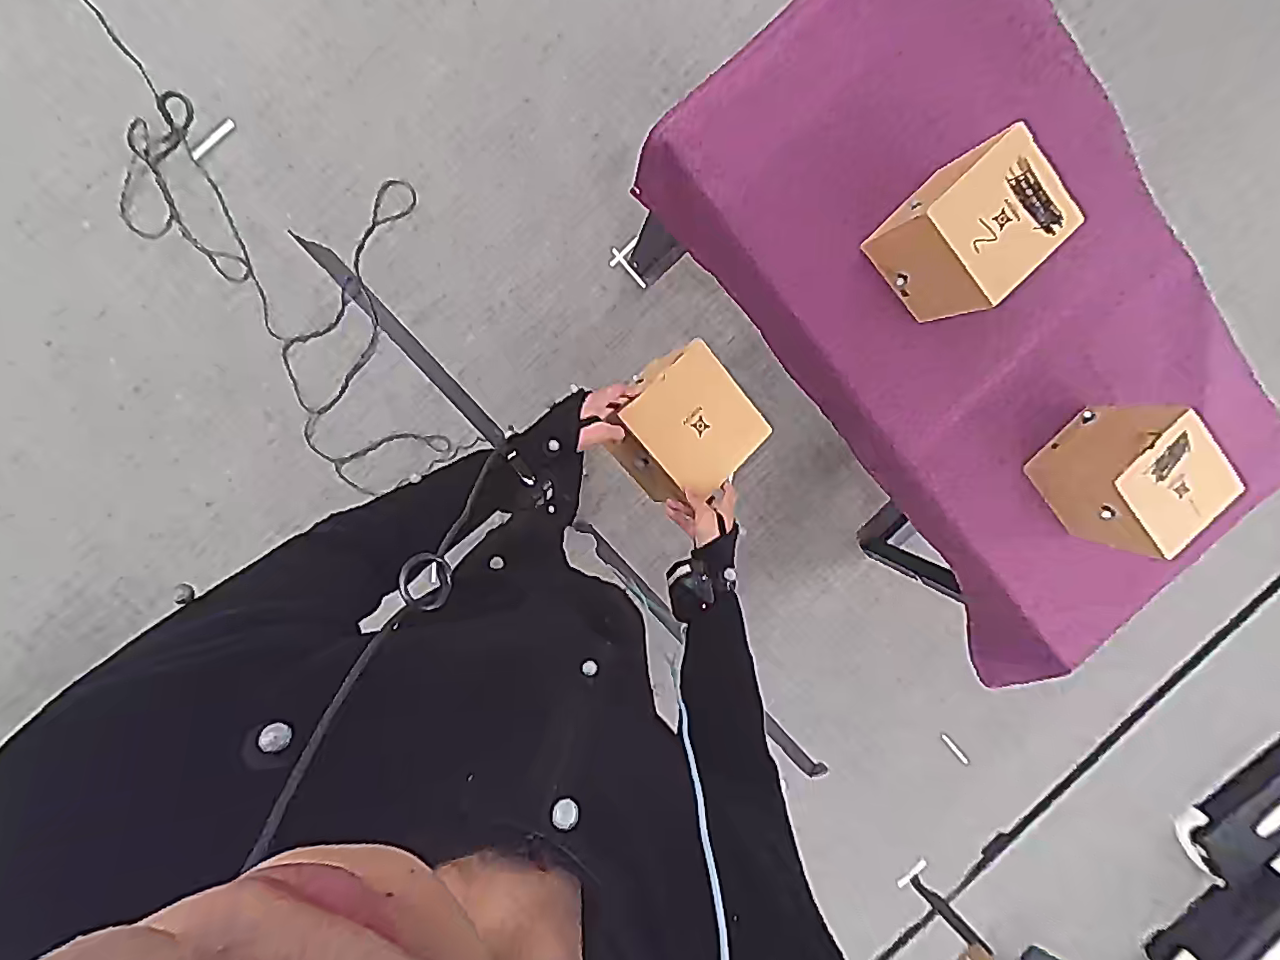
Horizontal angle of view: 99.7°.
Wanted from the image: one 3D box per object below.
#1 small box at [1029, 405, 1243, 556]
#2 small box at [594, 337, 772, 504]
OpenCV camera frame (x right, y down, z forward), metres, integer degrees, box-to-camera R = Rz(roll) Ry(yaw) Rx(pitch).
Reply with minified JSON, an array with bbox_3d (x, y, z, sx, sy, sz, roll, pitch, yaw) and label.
[{"bbox_3d":[0.805,-0.006,0.895,0.168,0.176,0.179,-43,102,0],"label":"small box"},{"bbox_3d":[0.057,-0.084,0.820,0.168,0.176,0.179,-45,103,-13],"label":"small box"}]
